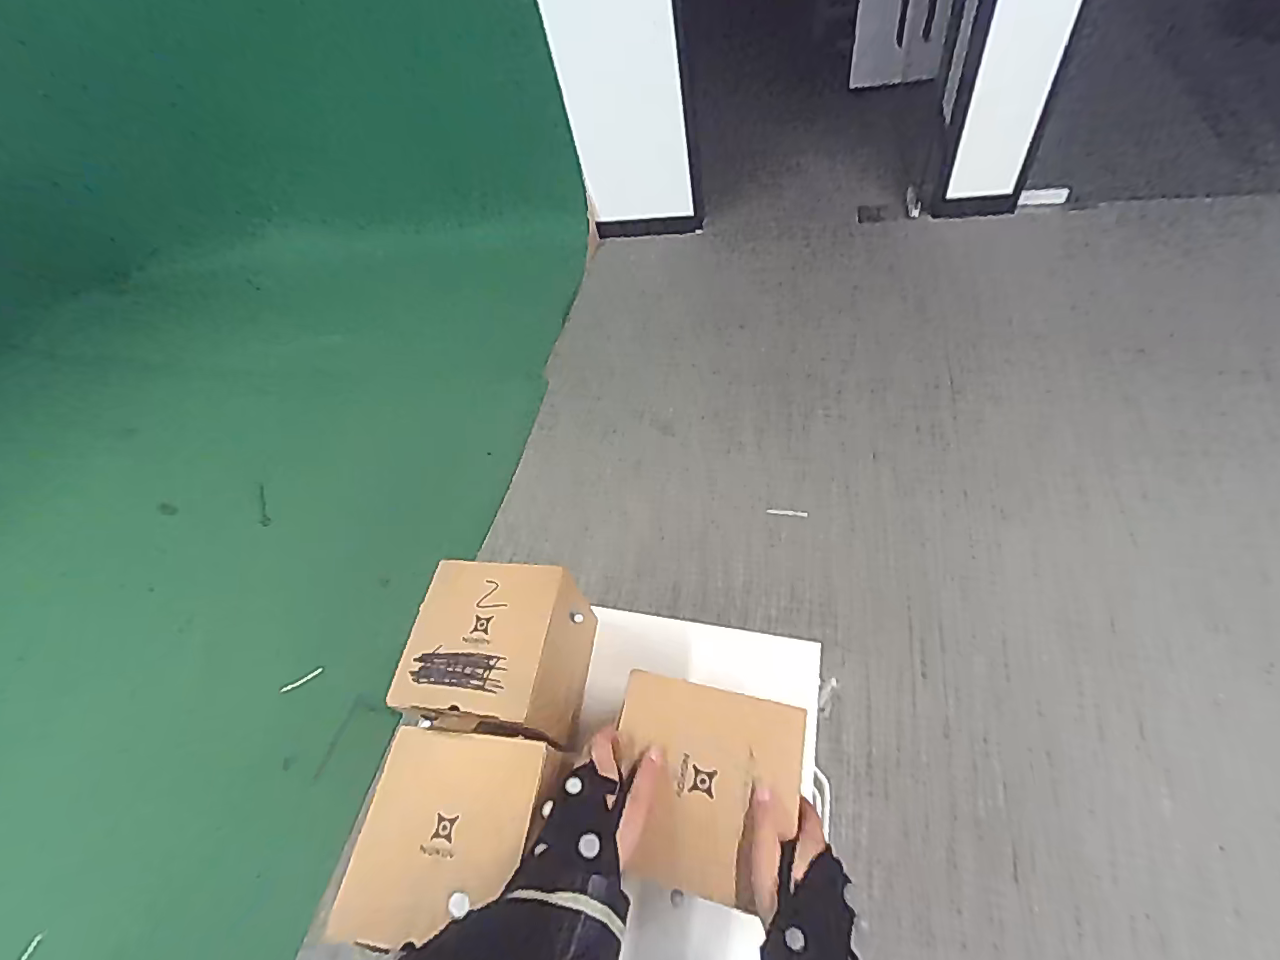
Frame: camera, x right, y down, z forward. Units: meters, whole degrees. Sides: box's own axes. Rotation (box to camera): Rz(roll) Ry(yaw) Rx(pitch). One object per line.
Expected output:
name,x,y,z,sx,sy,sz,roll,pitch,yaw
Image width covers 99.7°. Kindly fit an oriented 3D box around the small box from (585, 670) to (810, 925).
small box,0.068,0.312,0.547,0.179,0.176,0.168,7,60,16
